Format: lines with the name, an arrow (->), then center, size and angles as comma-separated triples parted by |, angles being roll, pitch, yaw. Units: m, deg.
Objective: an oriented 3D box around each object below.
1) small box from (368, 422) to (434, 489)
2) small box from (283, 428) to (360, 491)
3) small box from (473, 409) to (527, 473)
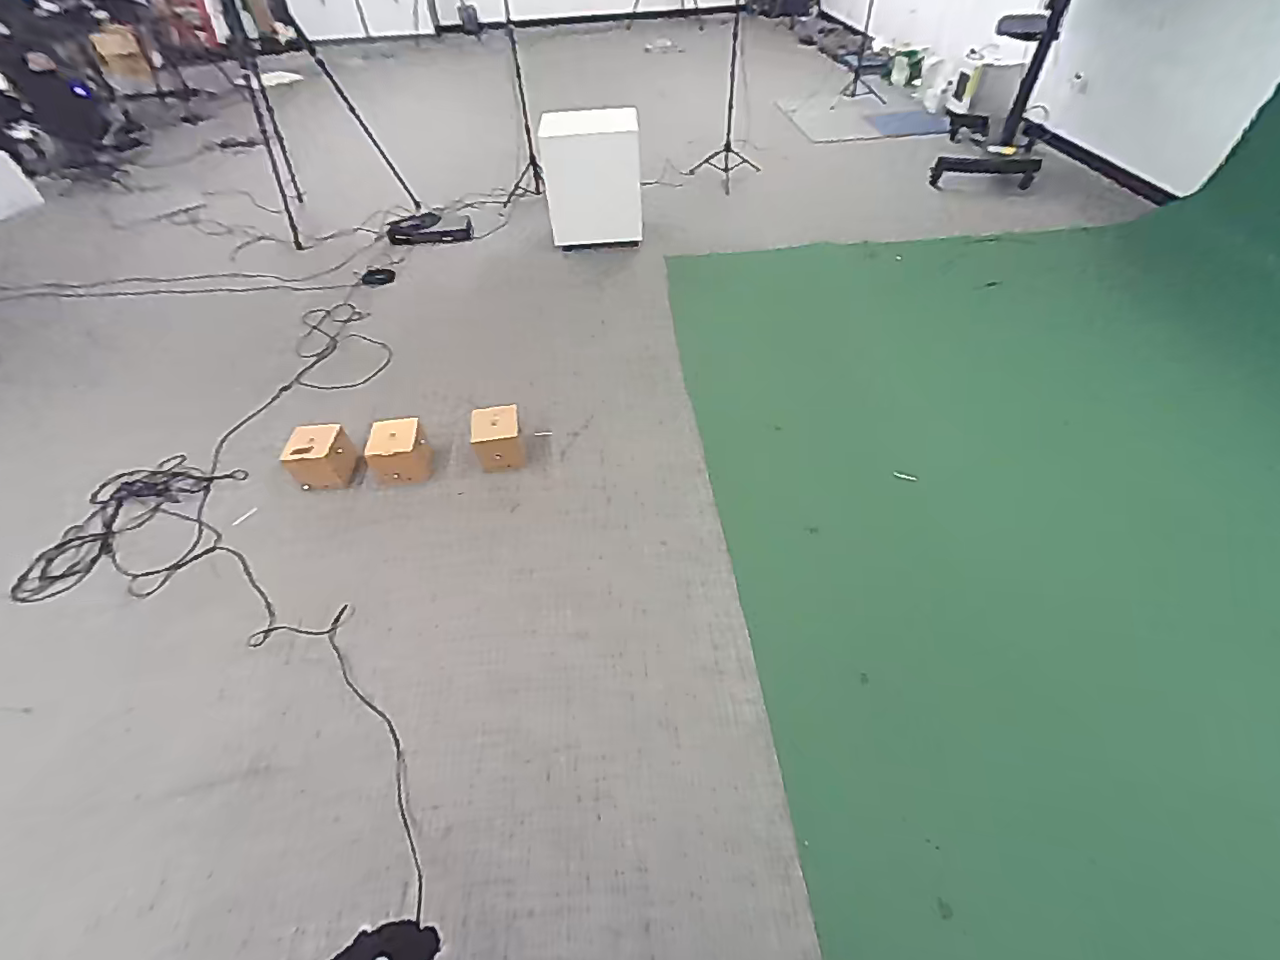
small box -> -0.877, -0.091, 2.004 | 0.168, 0.176, 0.179 | -7, 49, -3
small box -> -1.167, -0.070, 1.998 | 0.168, 0.176, 0.179 | -3, 47, 0
small box -> -0.522, -0.140, 2.027 | 0.168, 0.176, 0.179 | -8, 49, -5
